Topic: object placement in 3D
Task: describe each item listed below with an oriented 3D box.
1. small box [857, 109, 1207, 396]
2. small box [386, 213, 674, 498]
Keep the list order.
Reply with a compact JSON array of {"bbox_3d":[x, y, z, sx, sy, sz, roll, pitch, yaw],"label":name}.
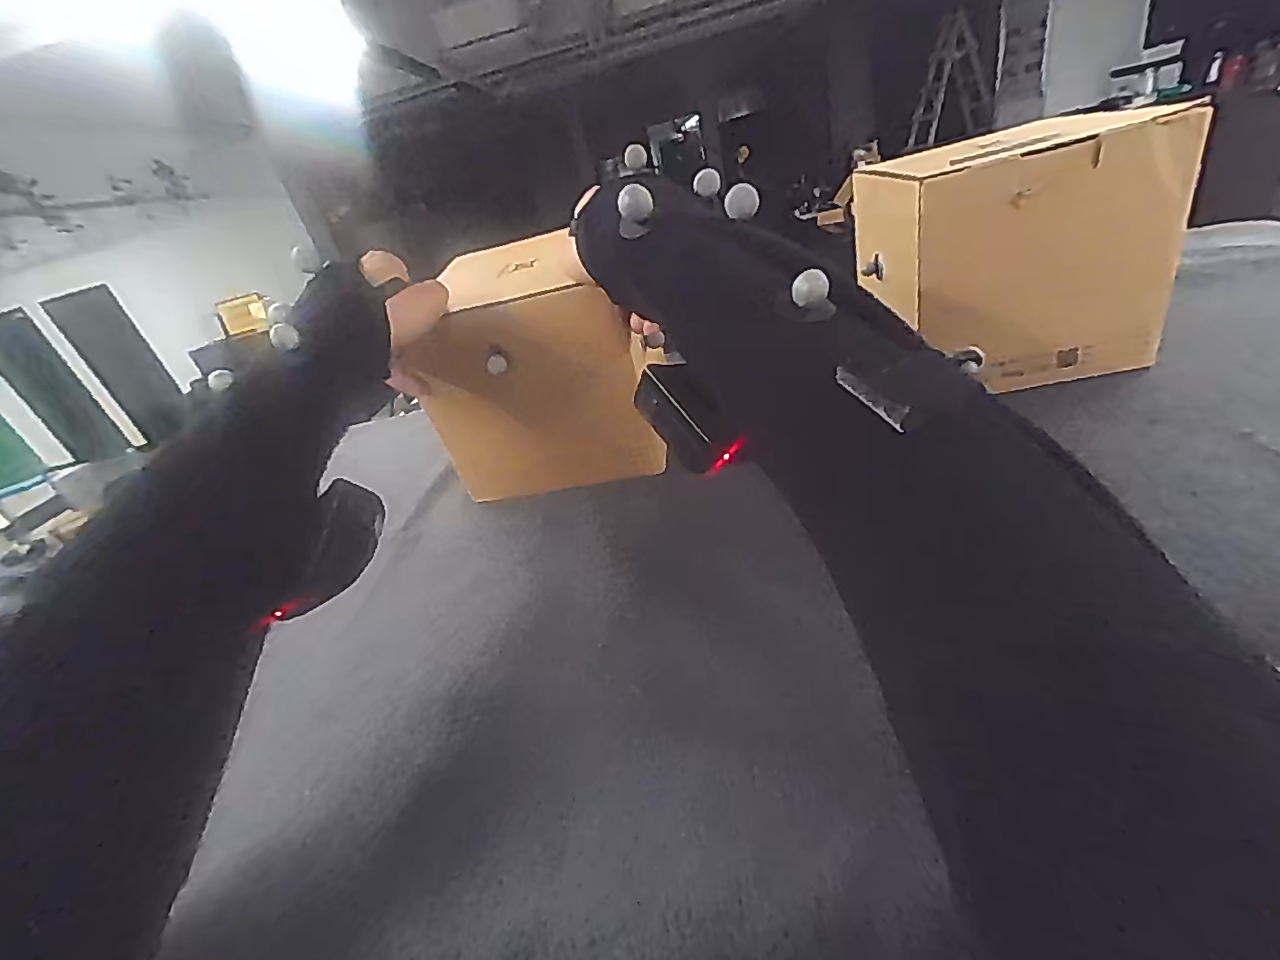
[{"bbox_3d":[0.289,-0.179,0.446,0.168,0.176,0.179,-9,29,11],"label":"small box"},{"bbox_3d":[-0.071,-0.104,0.471,0.179,0.176,0.168,-9,38,13],"label":"small box"}]
